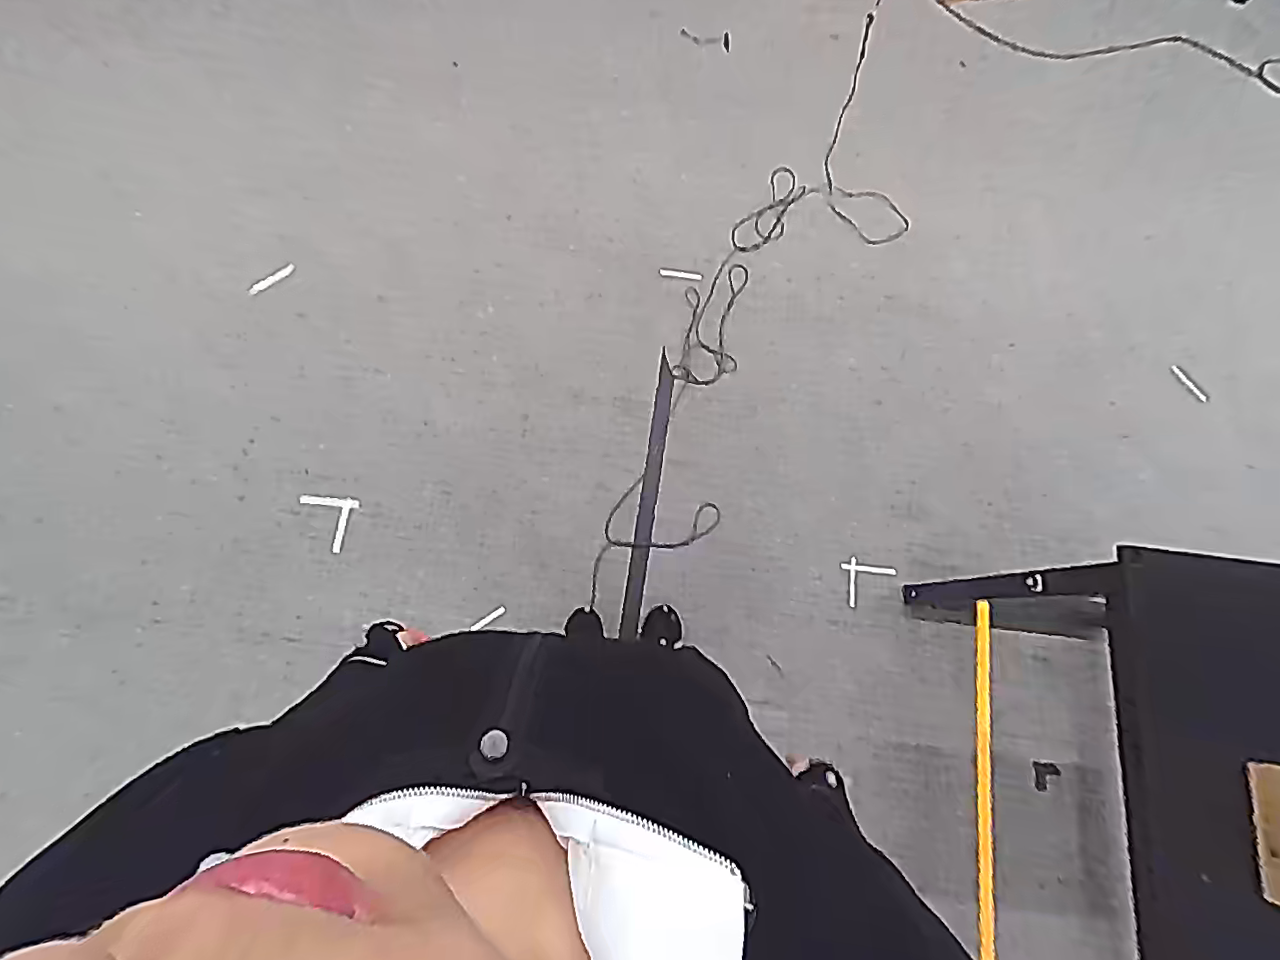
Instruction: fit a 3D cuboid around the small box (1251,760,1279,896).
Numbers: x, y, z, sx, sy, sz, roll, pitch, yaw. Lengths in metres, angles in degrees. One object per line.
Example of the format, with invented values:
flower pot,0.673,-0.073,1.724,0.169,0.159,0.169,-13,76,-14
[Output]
small box,0.904,0.448,0.638,0.179,0.176,0.168,9,76,2
